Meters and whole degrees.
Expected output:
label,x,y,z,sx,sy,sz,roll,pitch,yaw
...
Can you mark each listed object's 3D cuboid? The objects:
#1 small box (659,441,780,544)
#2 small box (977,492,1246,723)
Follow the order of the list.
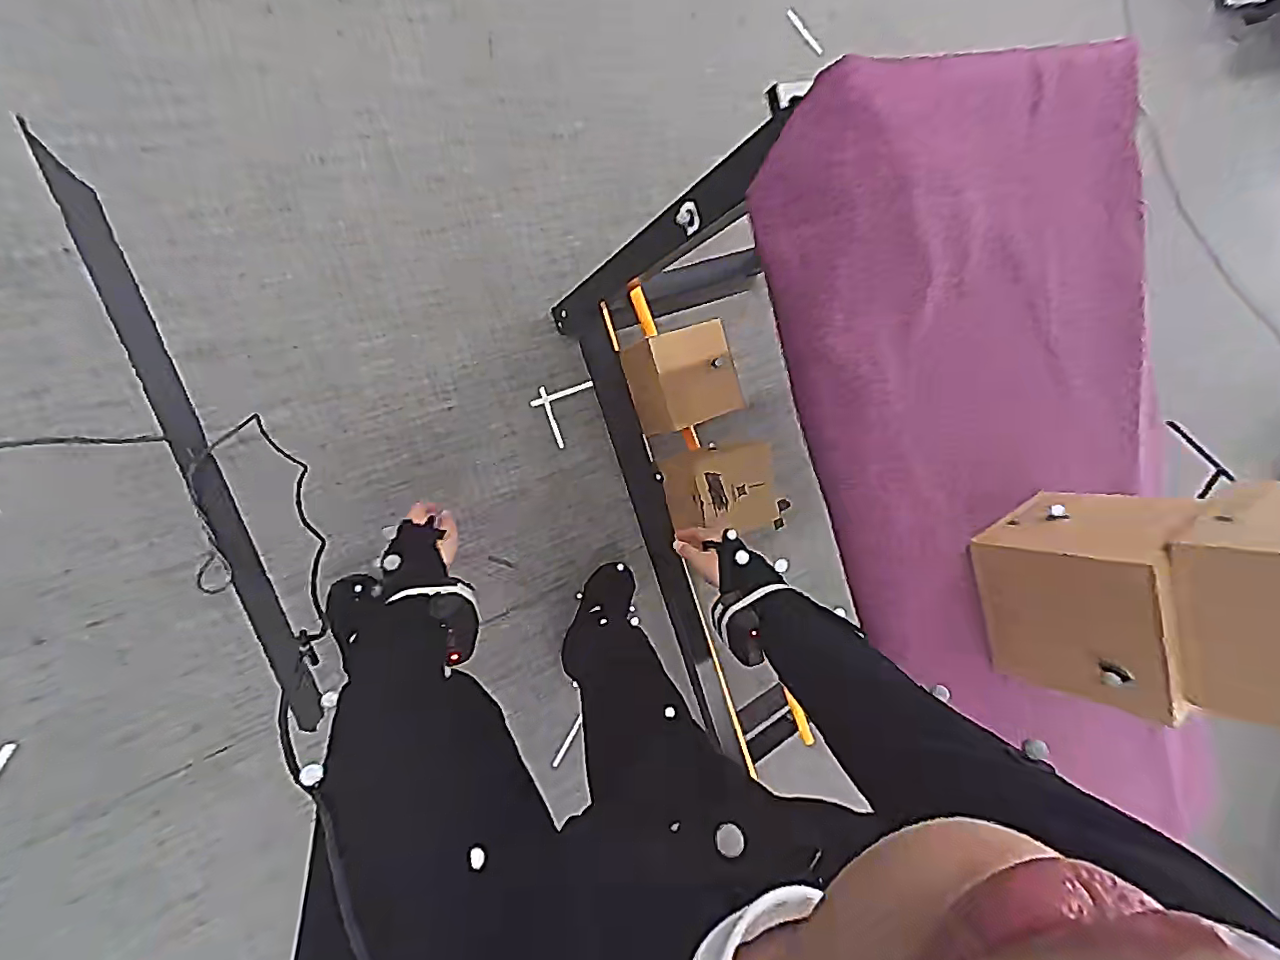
label,x,y,z,sx,sy,sz,roll,pitch,yaw
small box,0.155,0.021,1.111,0.179,0.176,0.168,-17,99,-25
small box,0.512,0.121,0.598,0.168,0.176,0.179,-22,101,-26
